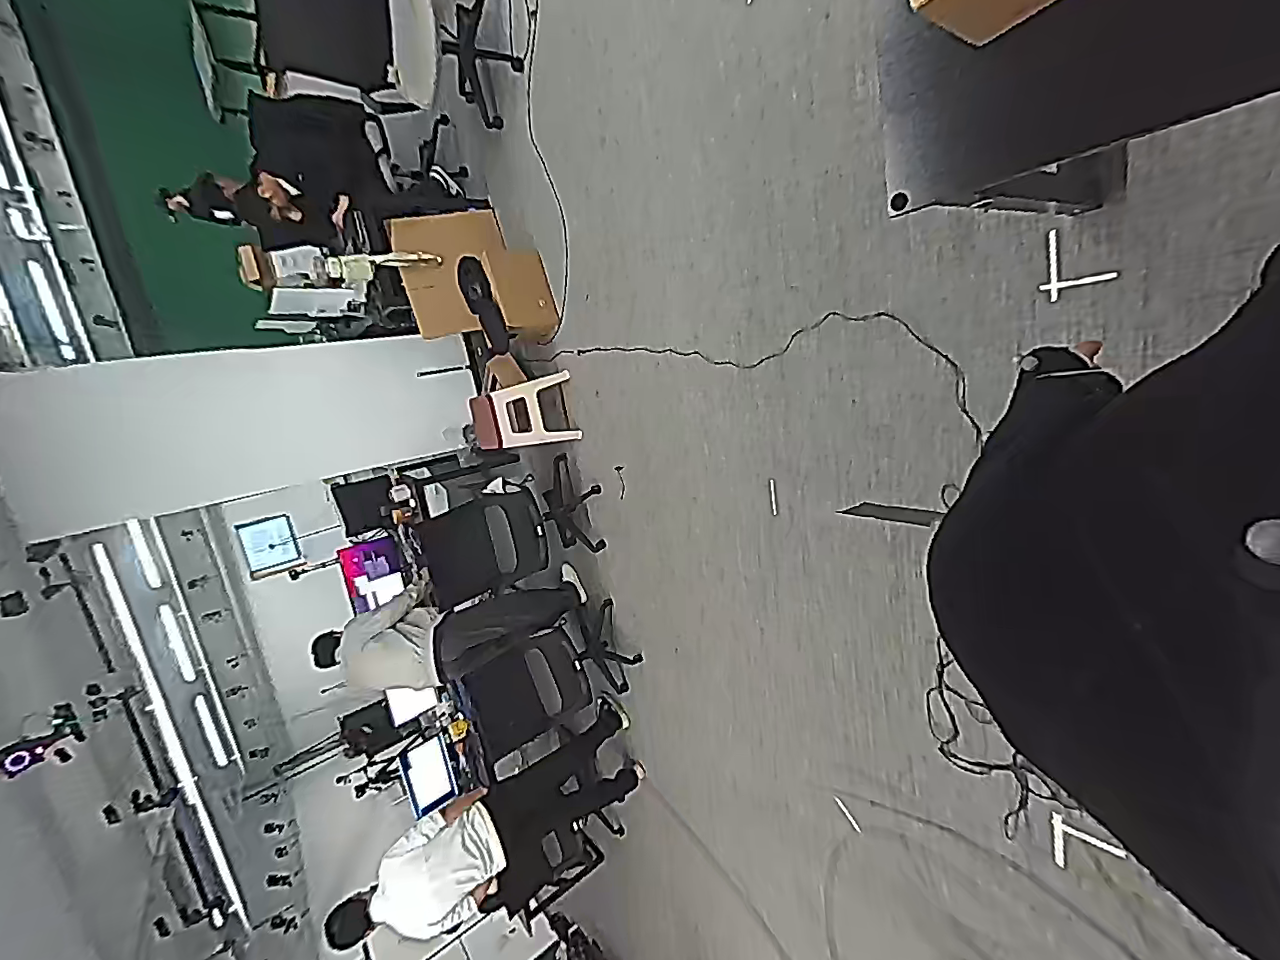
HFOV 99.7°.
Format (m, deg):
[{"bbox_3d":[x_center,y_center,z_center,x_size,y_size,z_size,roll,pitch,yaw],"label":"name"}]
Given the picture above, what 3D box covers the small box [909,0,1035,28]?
[{"bbox_3d":[0.362,-0.575,0.510,0.168,0.176,0.179,-2,102,53],"label":"small box"}]
